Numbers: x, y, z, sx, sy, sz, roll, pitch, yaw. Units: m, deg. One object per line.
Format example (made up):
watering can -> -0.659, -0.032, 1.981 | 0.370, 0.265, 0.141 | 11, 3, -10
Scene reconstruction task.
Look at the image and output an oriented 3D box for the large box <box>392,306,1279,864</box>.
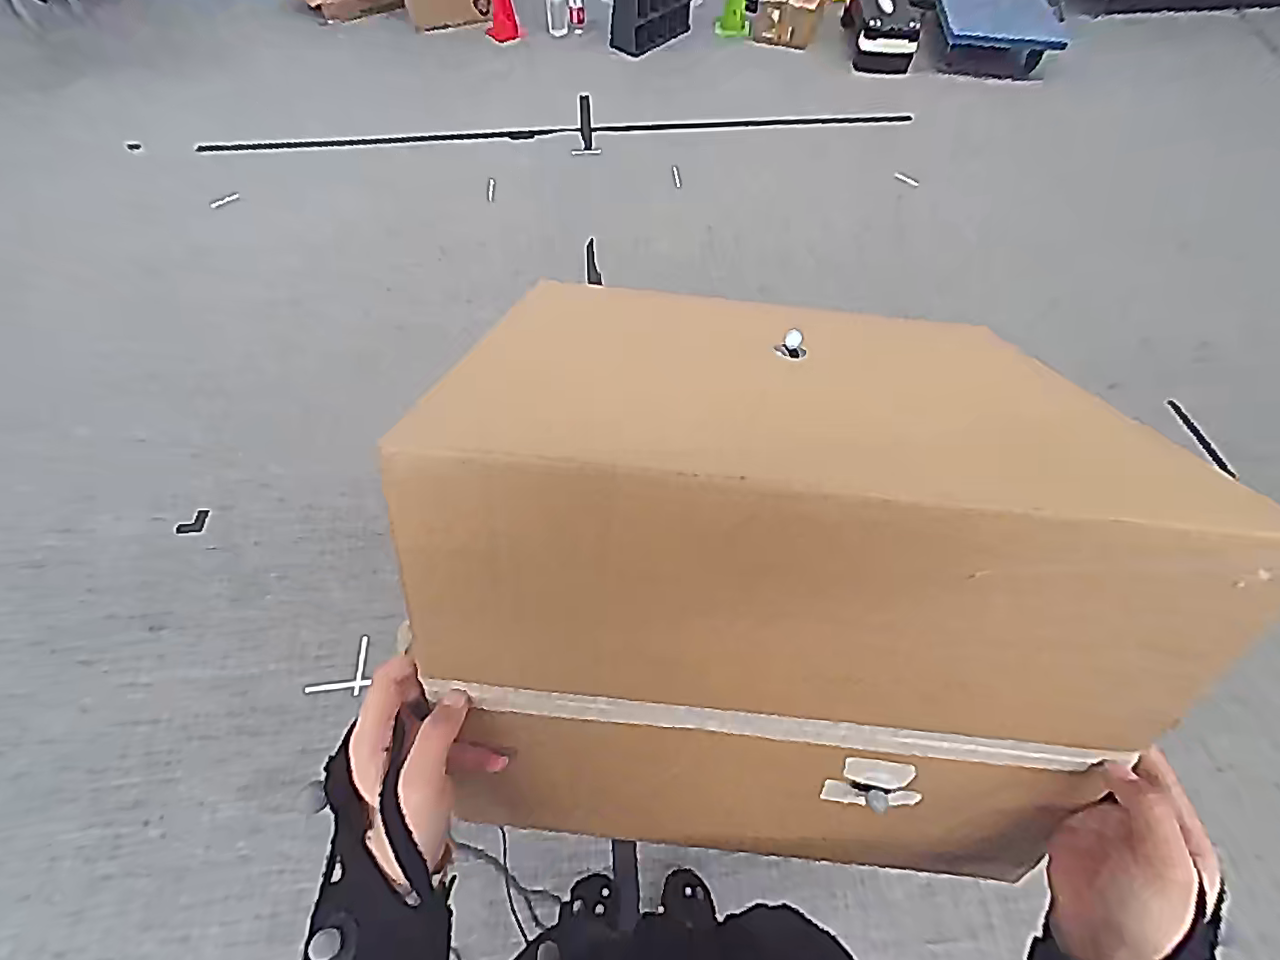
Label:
large box -> 0.082, 0.058, 0.443 | 0.408, 0.320, 0.320 | 5, 33, 0
